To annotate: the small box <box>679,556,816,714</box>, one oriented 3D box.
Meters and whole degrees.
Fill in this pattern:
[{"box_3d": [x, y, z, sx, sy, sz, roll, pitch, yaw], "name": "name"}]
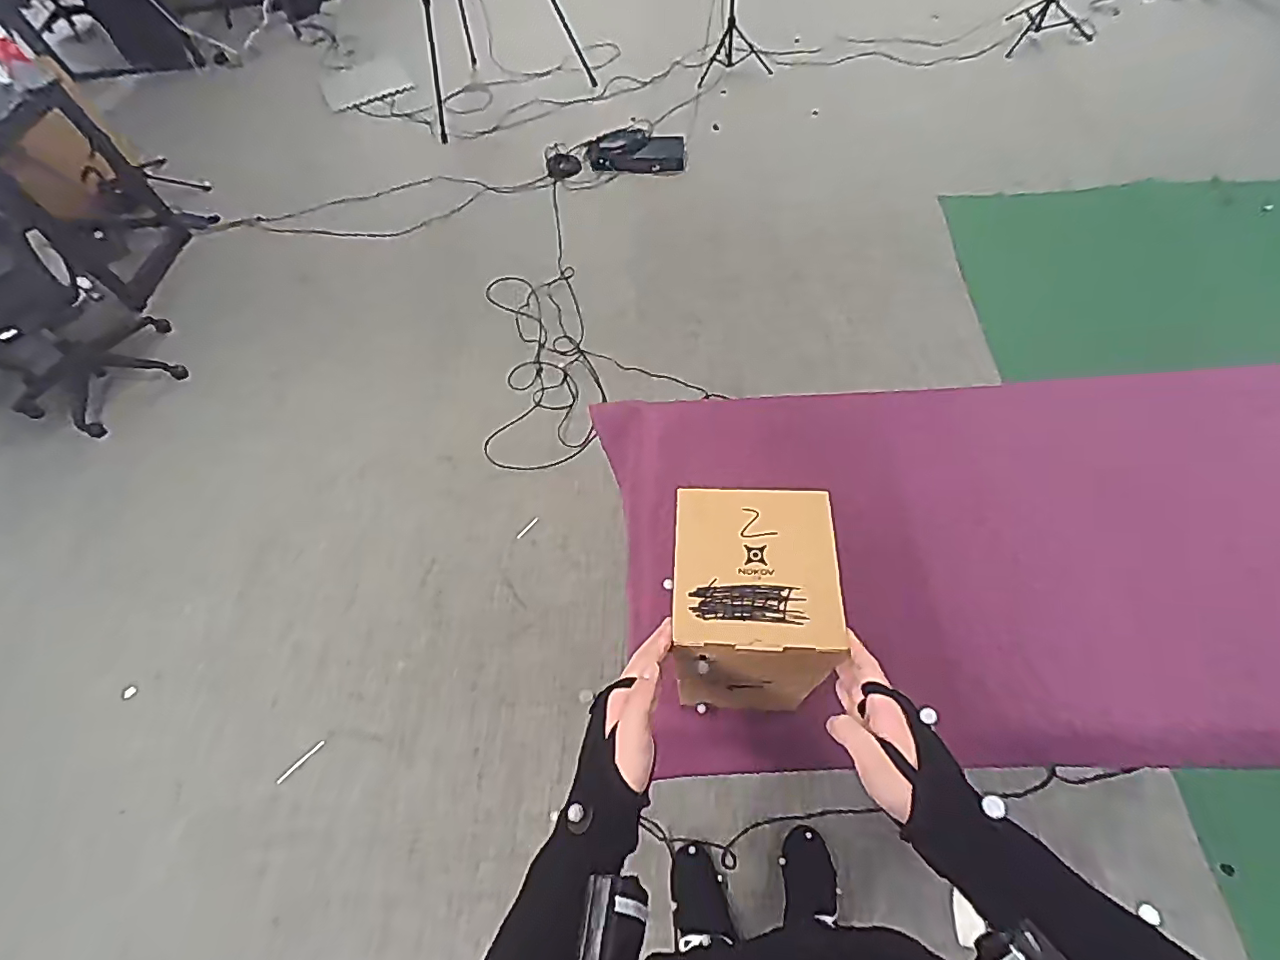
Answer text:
[{"box_3d": [0.141, 0.221, 0.755, 0.168, 0.176, 0.179, 0, 57, 6], "name": "small box"}]
